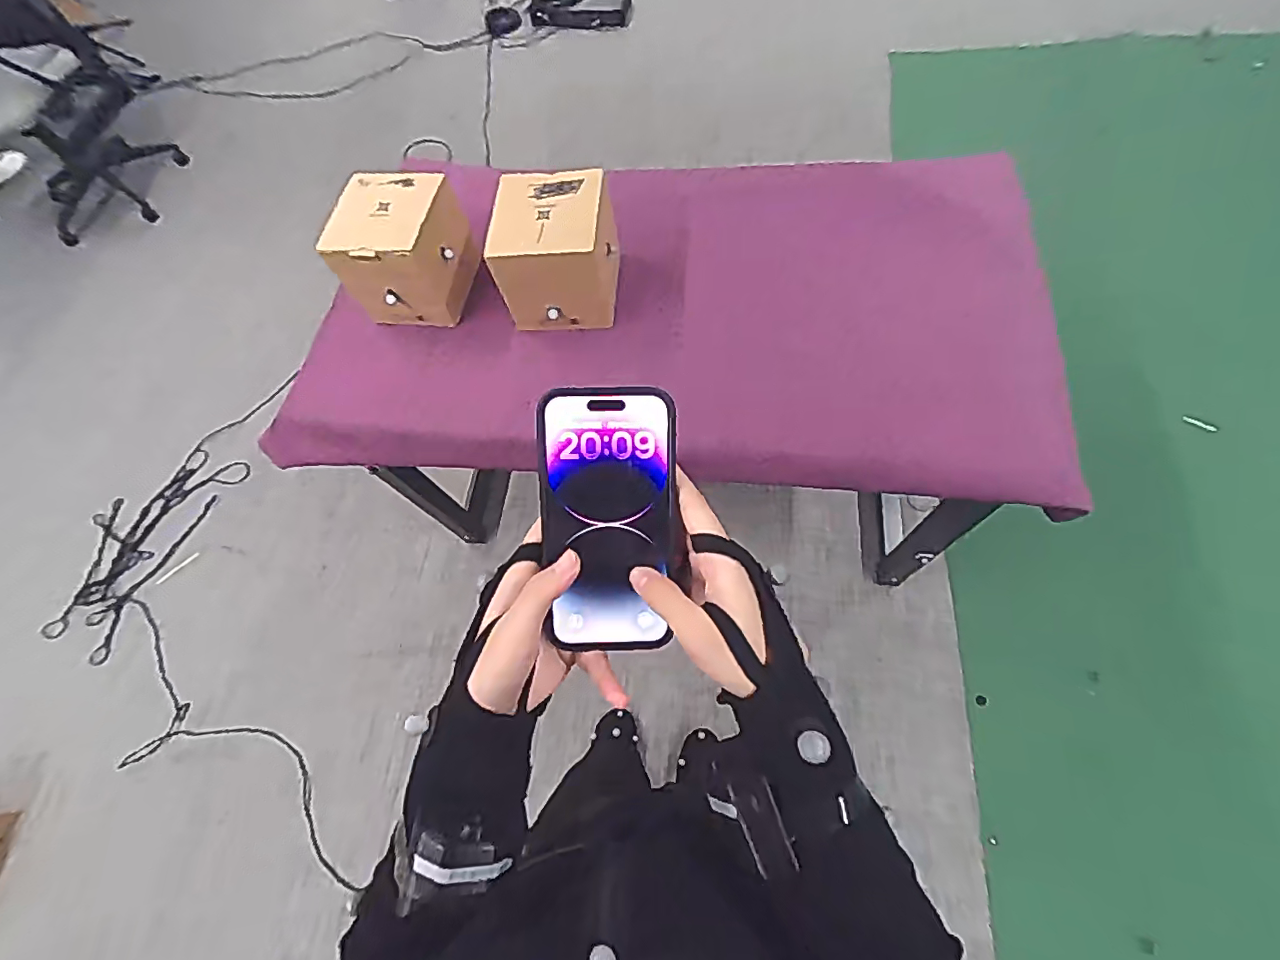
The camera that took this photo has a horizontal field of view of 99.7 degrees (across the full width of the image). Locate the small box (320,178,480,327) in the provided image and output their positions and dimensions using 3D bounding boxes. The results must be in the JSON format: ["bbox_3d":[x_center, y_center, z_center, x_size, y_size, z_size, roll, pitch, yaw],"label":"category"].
[{"bbox_3d":[-0.396,-0.383,0.928,0.168,0.176,0.179,5,67,10],"label":"small box"}]

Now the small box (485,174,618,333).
[{"bbox_3d":[-0.132,-0.364,0.884,0.168,0.176,0.179,0,66,8],"label":"small box"}]

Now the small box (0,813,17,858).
[{"bbox_3d":[-1.693,0.909,1.300,0.179,0.176,0.168,-4,65,6],"label":"small box"}]
